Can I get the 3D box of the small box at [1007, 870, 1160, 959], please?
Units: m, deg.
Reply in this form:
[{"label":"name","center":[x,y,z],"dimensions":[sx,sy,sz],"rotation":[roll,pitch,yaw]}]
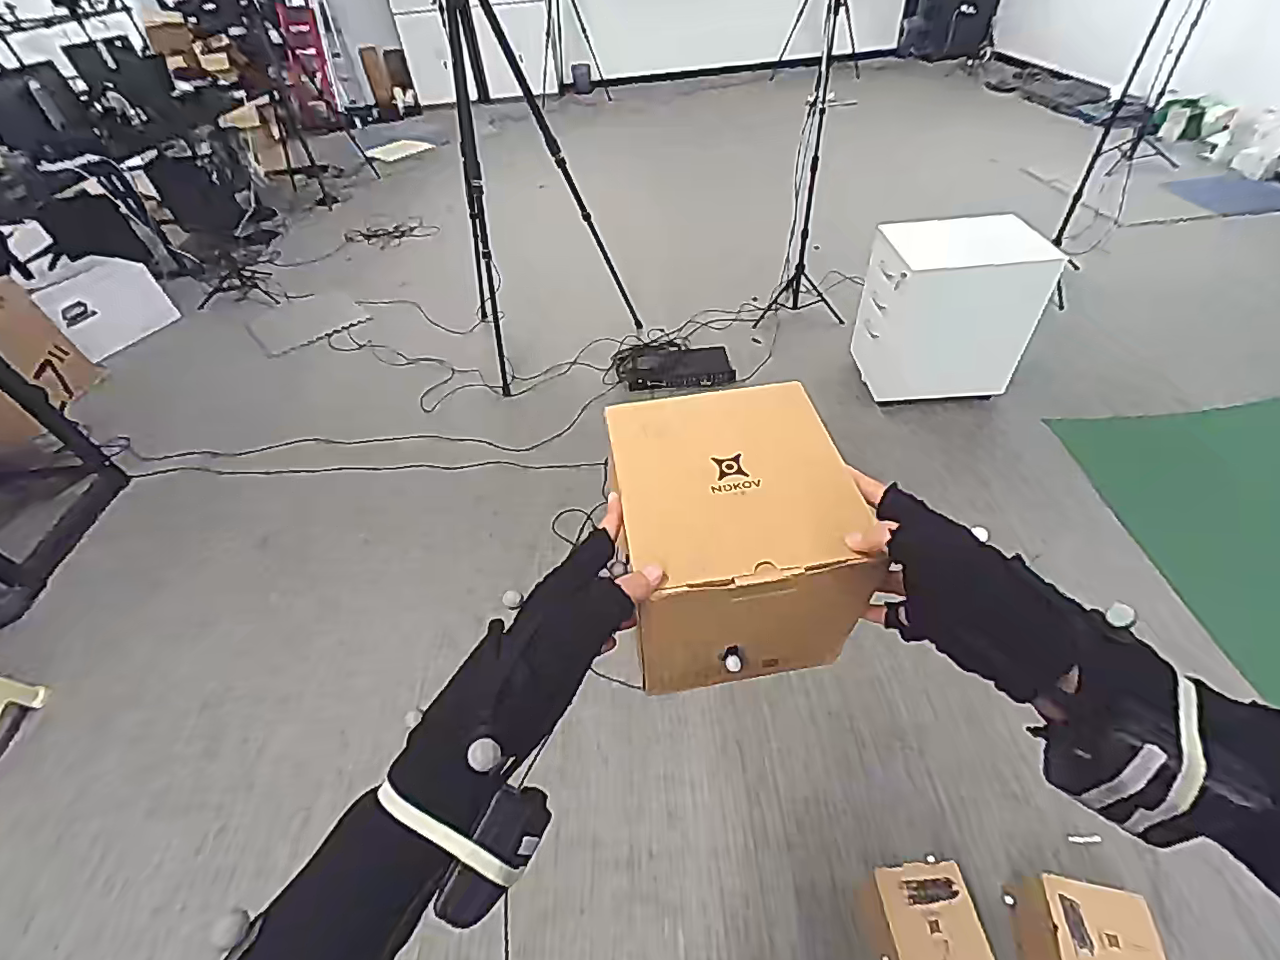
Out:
[{"label":"small box","center":[0.830,0.872,1.024],"dimensions":[0.179,0.176,0.168],"rotation":[7,48,11]}]
